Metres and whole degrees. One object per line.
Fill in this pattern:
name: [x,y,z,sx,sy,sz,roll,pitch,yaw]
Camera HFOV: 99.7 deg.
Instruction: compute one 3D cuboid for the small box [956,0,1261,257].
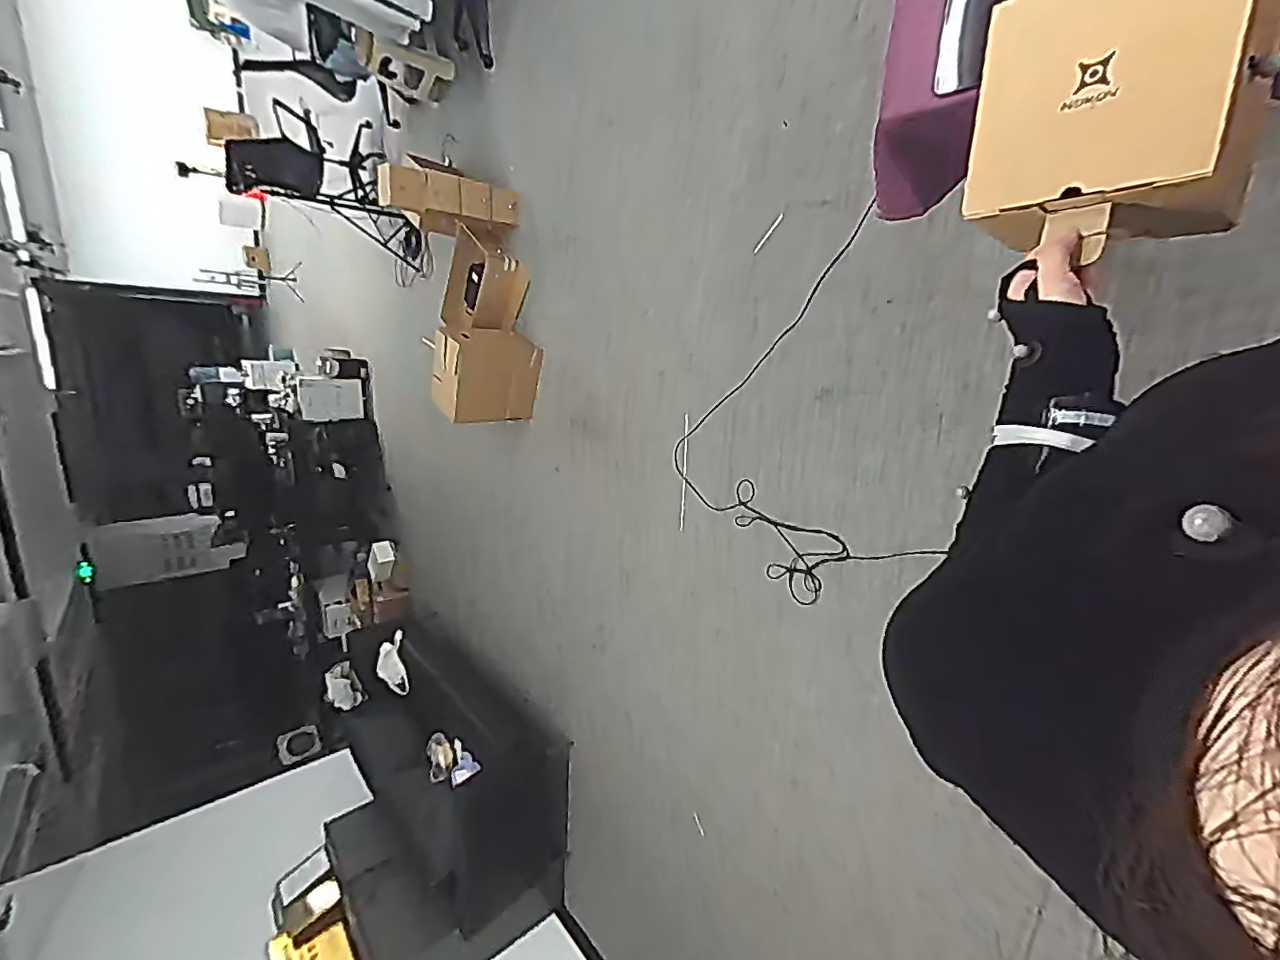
small box: [0.418,-0.317,0.487,0.168,0.176,0.179,15,106,49]
